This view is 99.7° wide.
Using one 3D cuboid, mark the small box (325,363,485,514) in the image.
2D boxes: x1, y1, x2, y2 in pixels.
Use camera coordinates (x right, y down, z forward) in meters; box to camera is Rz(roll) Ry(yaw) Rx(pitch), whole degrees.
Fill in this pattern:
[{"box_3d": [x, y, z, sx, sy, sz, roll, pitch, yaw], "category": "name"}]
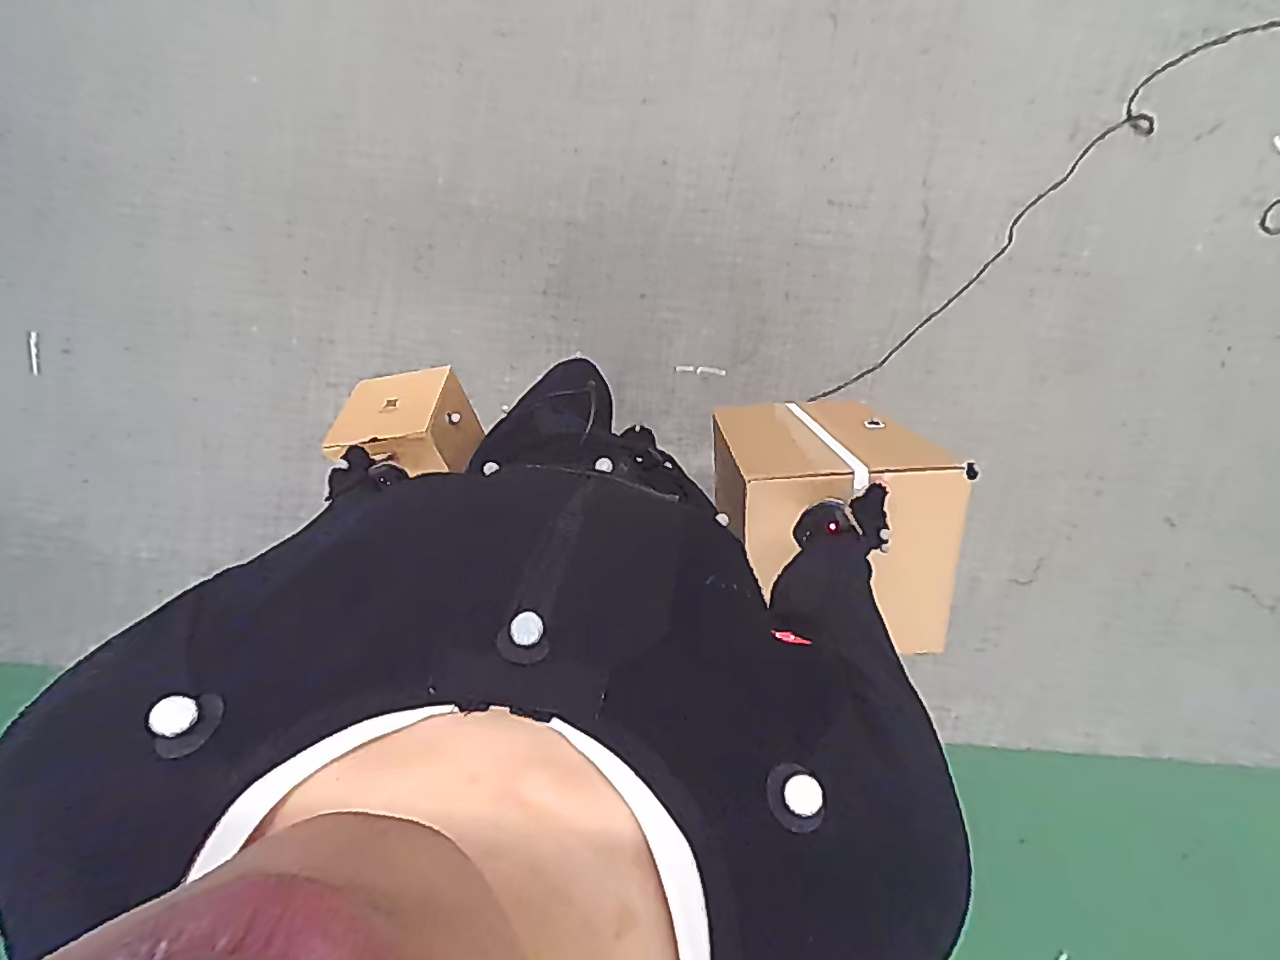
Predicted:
[{"box_3d": [-0.374, -0.067, 0.902, 0.168, 0.179, 0.176, -8, 136, 6], "category": "small box"}]
